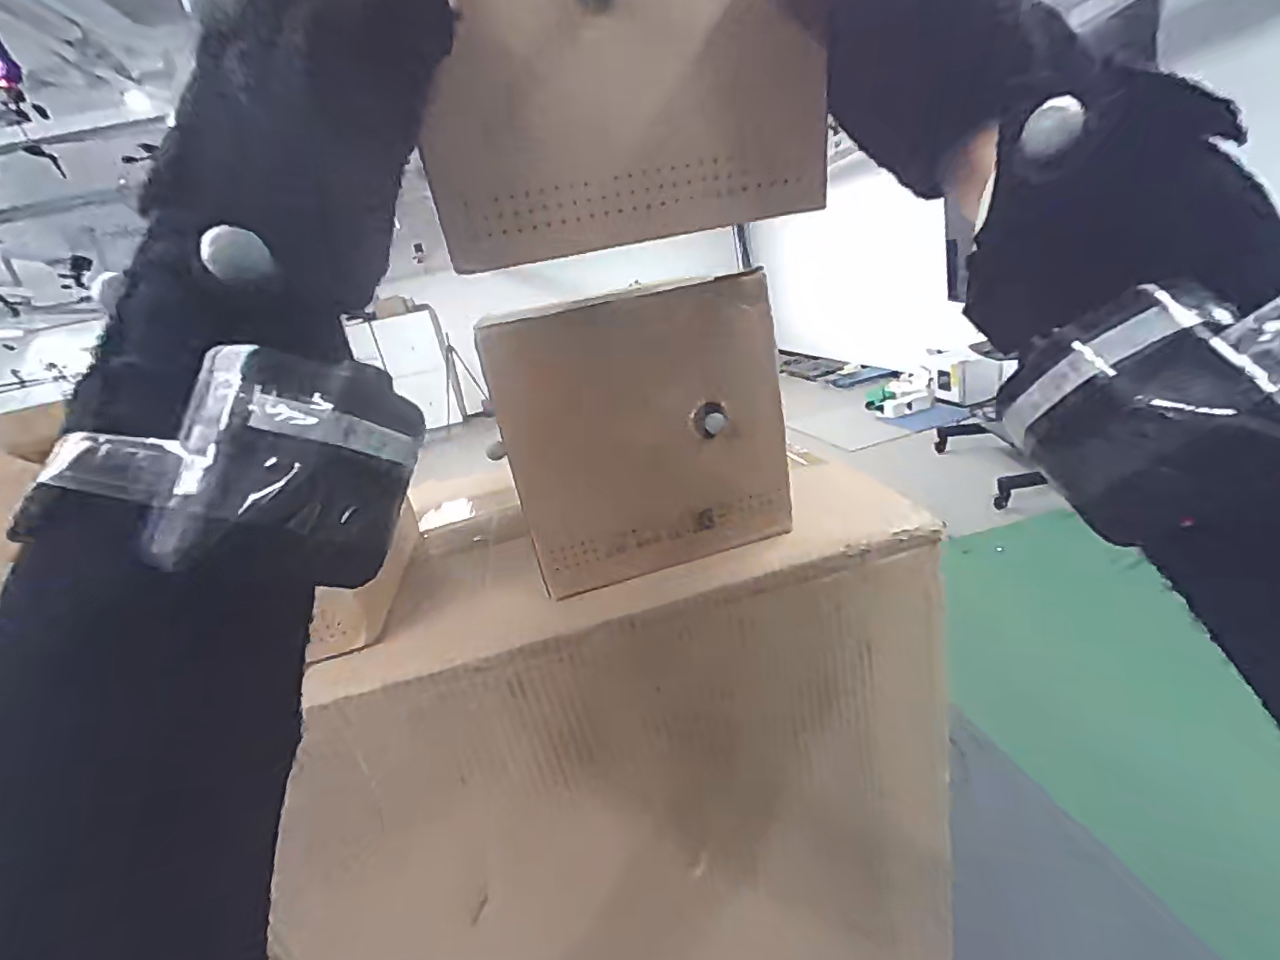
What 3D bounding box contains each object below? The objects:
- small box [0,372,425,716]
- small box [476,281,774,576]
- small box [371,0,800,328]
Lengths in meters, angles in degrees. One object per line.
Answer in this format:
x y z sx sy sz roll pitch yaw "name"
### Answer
-0.269 0.037 0.384 0.168 0.176 0.179 -17 21 -9 "small box"
-0.012 -0.043 0.403 0.168 0.176 0.179 -13 20 -8 "small box"
-0.023 -0.193 0.298 0.179 0.176 0.168 -12 26 -4 "small box"
